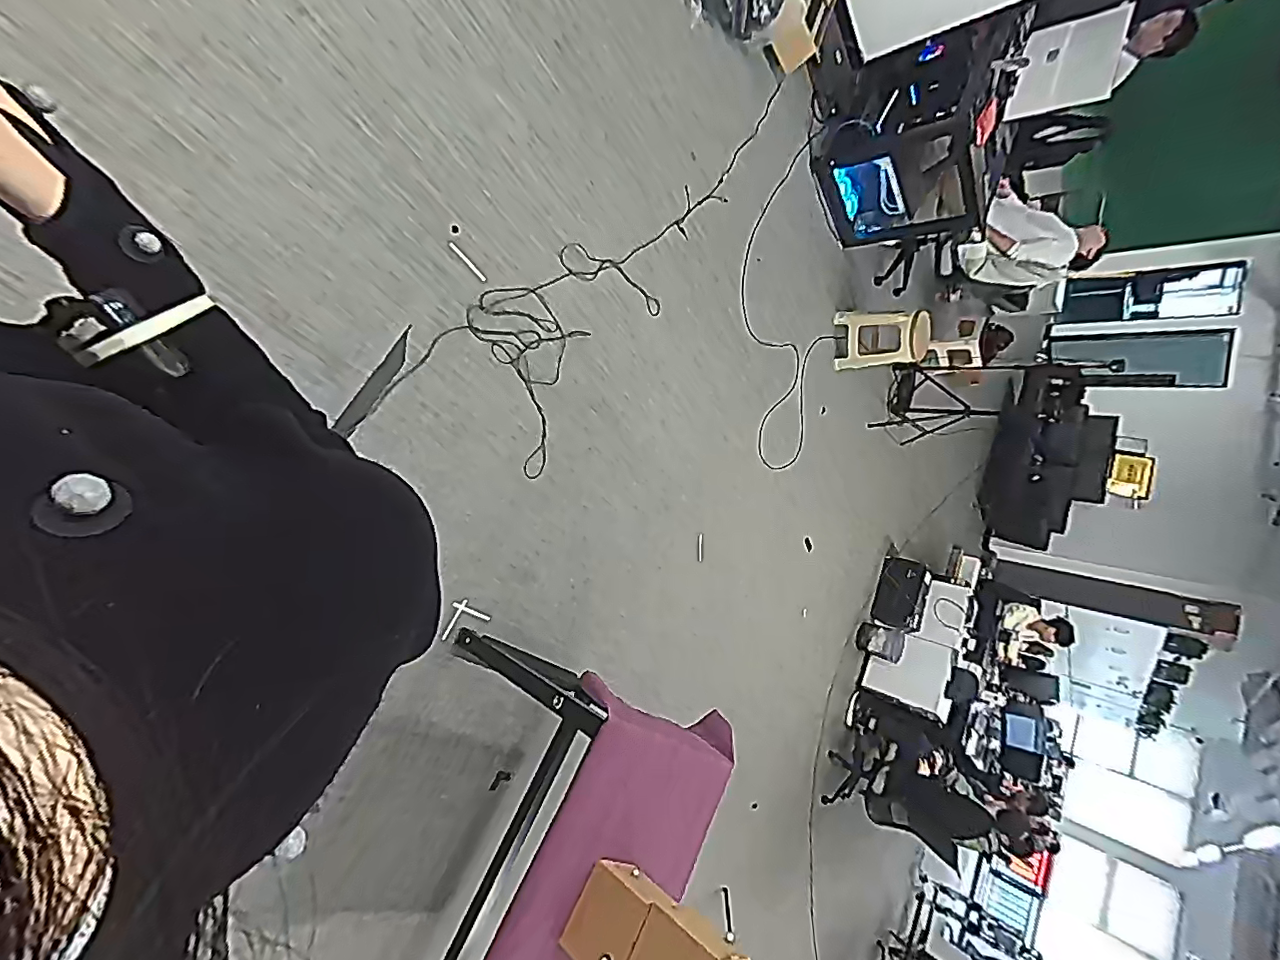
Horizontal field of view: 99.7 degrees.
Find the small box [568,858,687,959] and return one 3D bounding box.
[{"bbox_3d":[-0.032,0.984,1.193,0.168,0.176,0.179,48,63,-41],"label":"small box"}]
